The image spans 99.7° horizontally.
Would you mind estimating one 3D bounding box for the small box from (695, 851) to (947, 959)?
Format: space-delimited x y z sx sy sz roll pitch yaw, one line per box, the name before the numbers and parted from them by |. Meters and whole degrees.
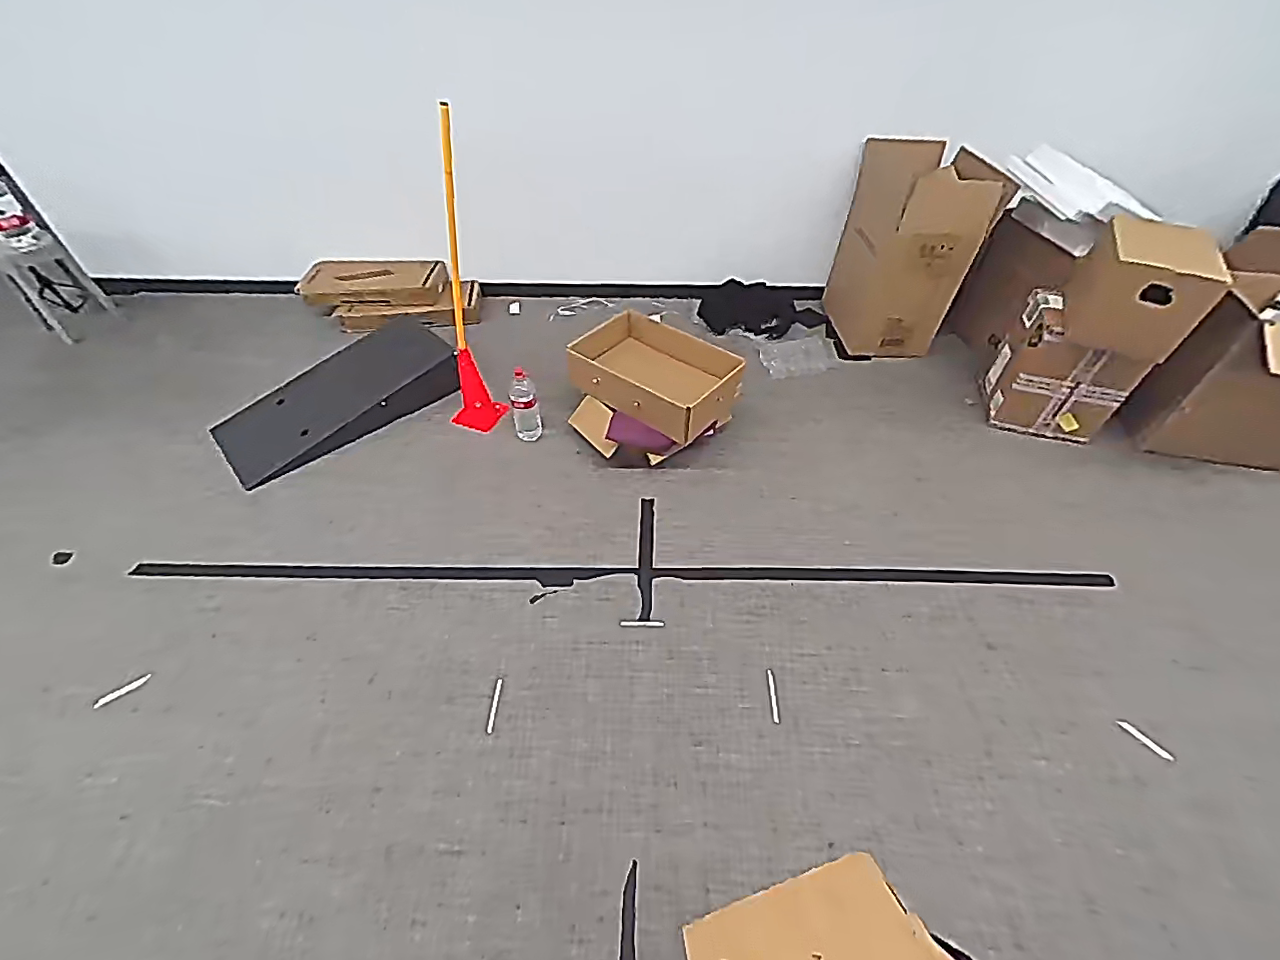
small box | 0.161 0.441 0.406 0.179 0.176 0.168 -20 6 -3
